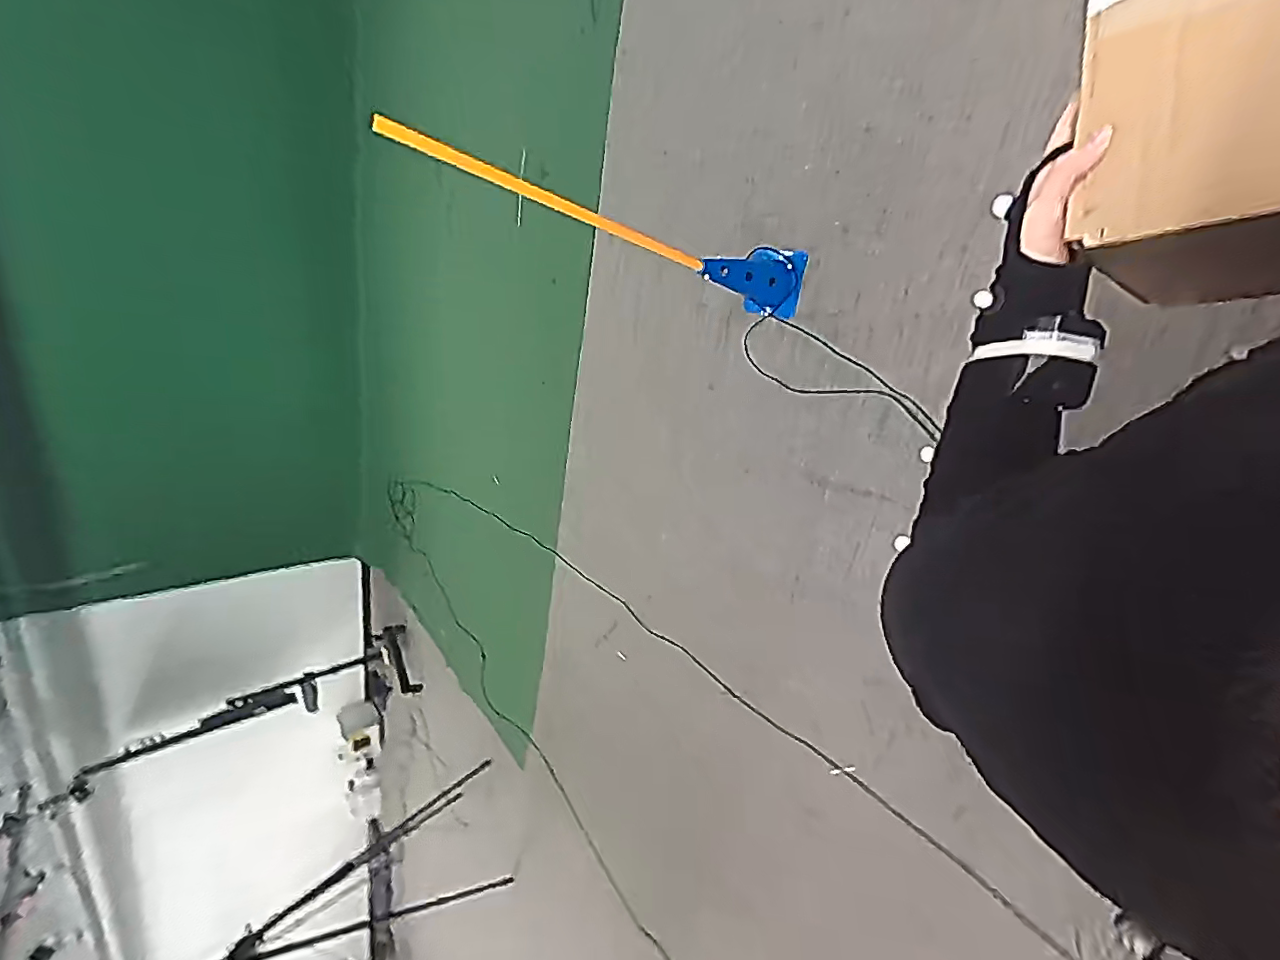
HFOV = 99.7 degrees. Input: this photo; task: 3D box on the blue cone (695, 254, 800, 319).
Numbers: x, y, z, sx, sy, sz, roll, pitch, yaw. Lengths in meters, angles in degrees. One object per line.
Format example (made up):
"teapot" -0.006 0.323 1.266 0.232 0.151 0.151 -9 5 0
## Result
"blue cone" 0.288 -0.596 1.589 0.192 0.380 0.193 25 113 42
